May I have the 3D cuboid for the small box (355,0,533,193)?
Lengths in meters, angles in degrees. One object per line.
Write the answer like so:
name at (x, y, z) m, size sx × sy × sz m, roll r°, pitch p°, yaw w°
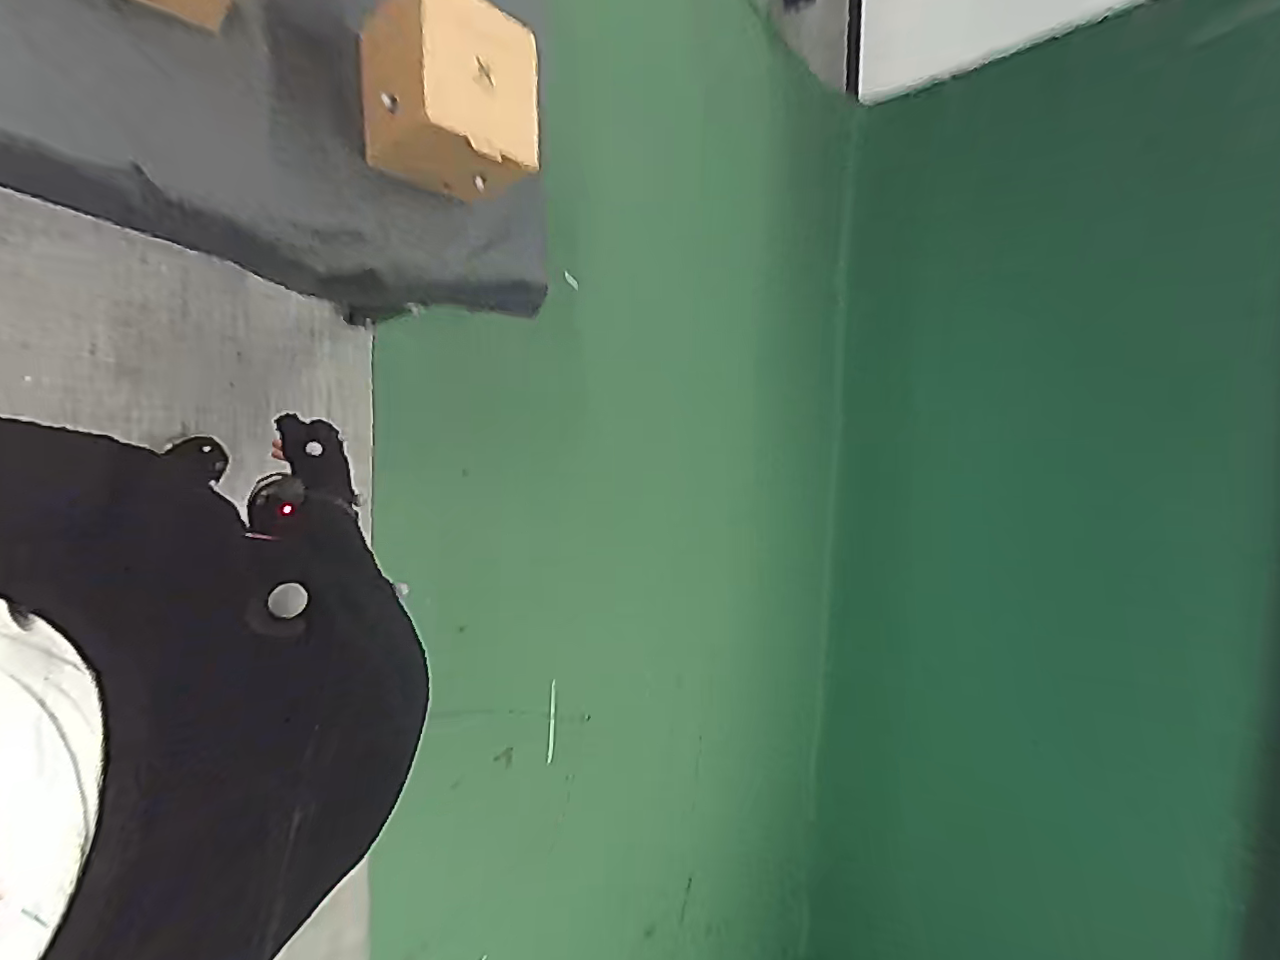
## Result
small box at (-0.262, -0.517, 0.726) m, size 0.168 × 0.176 × 0.179 m, roll -8°, pitch 98°, yaw -49°
